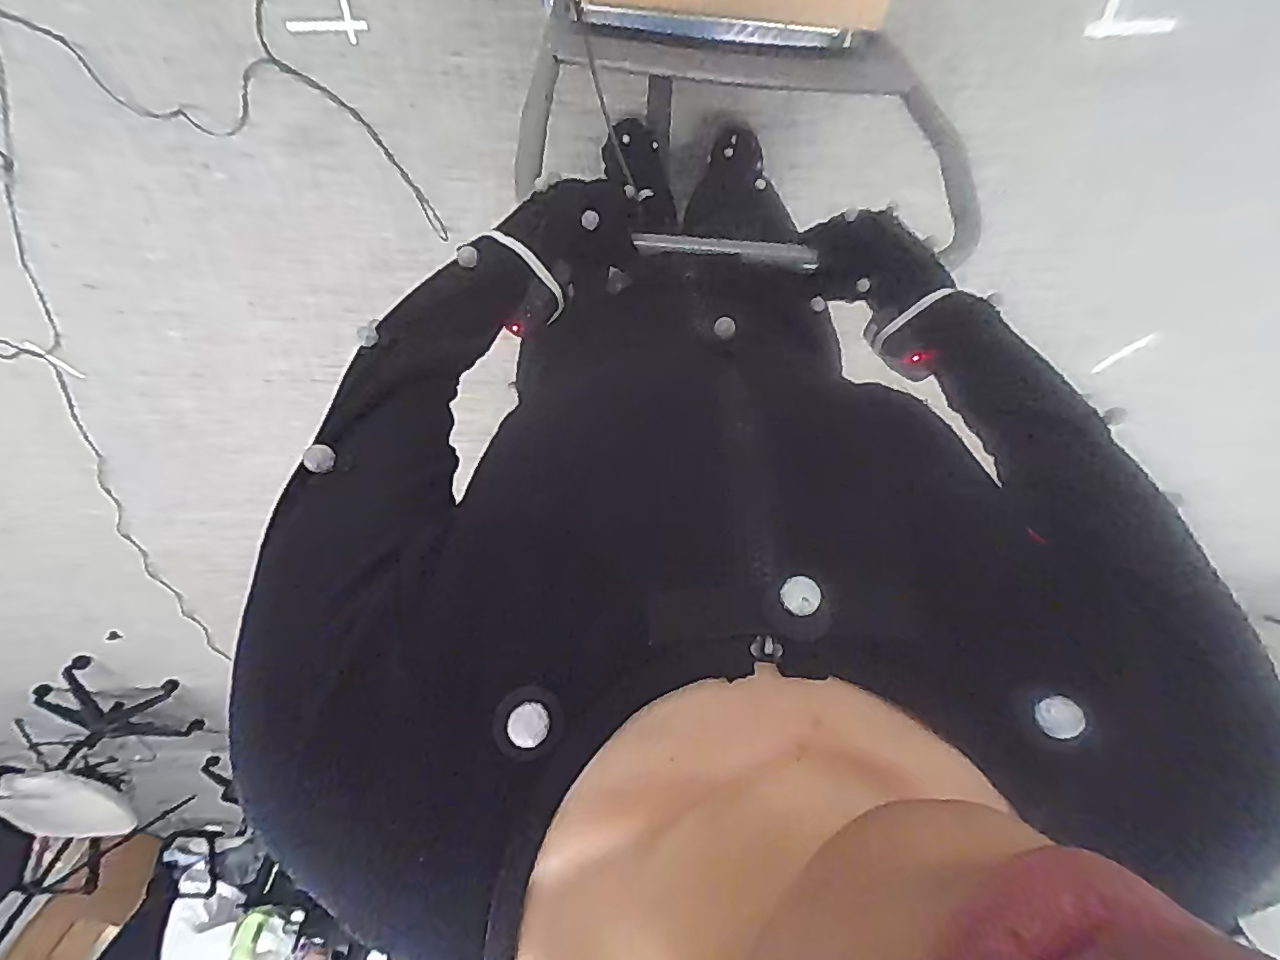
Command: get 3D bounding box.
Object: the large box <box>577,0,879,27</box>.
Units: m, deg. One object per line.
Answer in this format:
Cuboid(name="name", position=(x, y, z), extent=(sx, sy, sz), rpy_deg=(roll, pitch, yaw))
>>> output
Cuboid(name="large box", position=(0.118, -0.823, 0.688), extent=(0.408, 0.320, 0.320), rpy_deg=(2, 143, -4))
